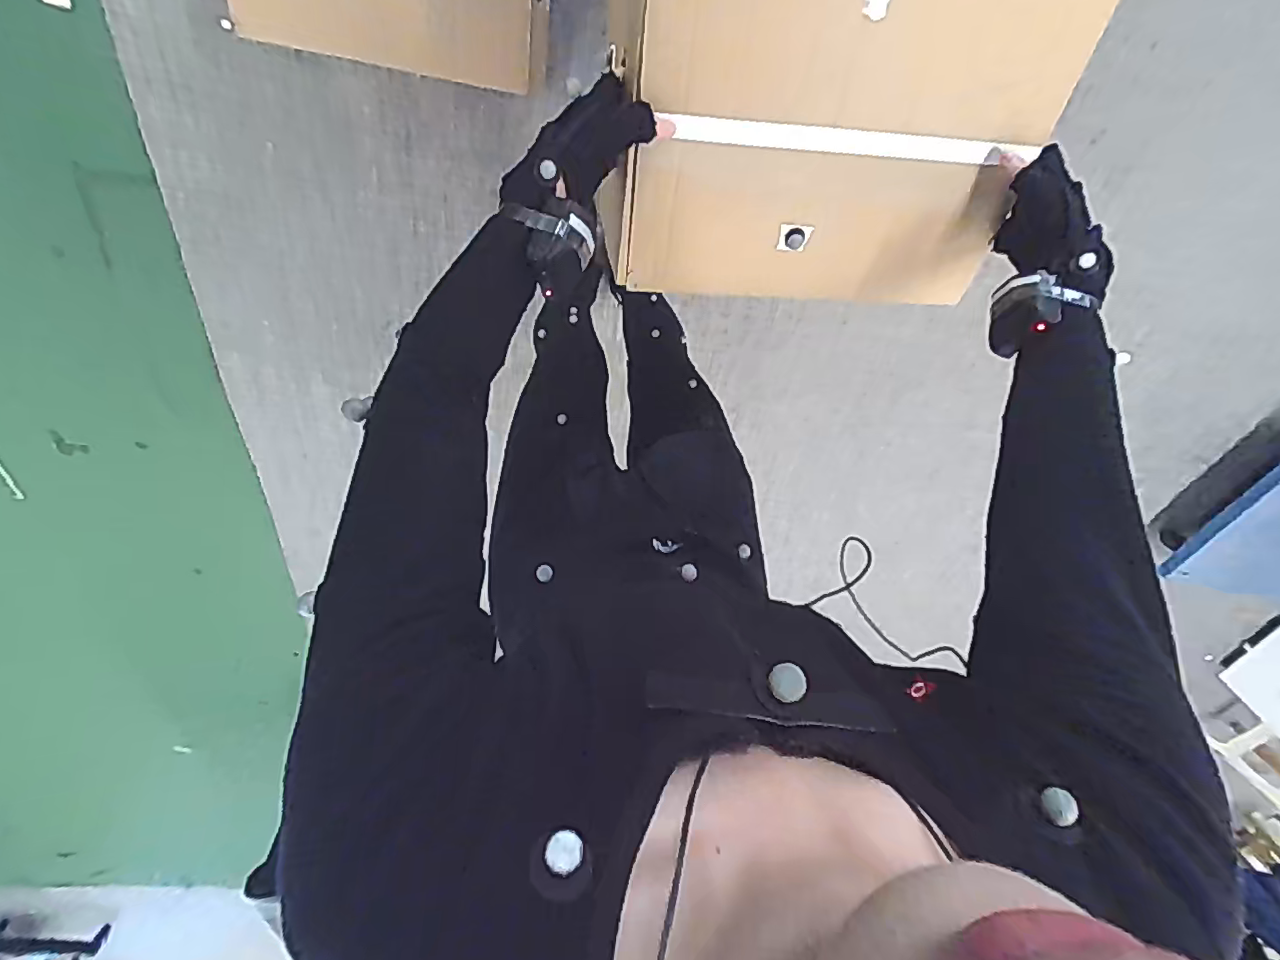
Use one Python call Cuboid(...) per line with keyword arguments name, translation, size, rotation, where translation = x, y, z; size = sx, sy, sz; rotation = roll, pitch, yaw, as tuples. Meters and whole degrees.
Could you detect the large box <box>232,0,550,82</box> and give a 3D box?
Cuboid(name="large box", translation=(-0.341, -0.817, 0.798), size=(0.408, 0.320, 0.320), rotation=(6, 126, -8))
